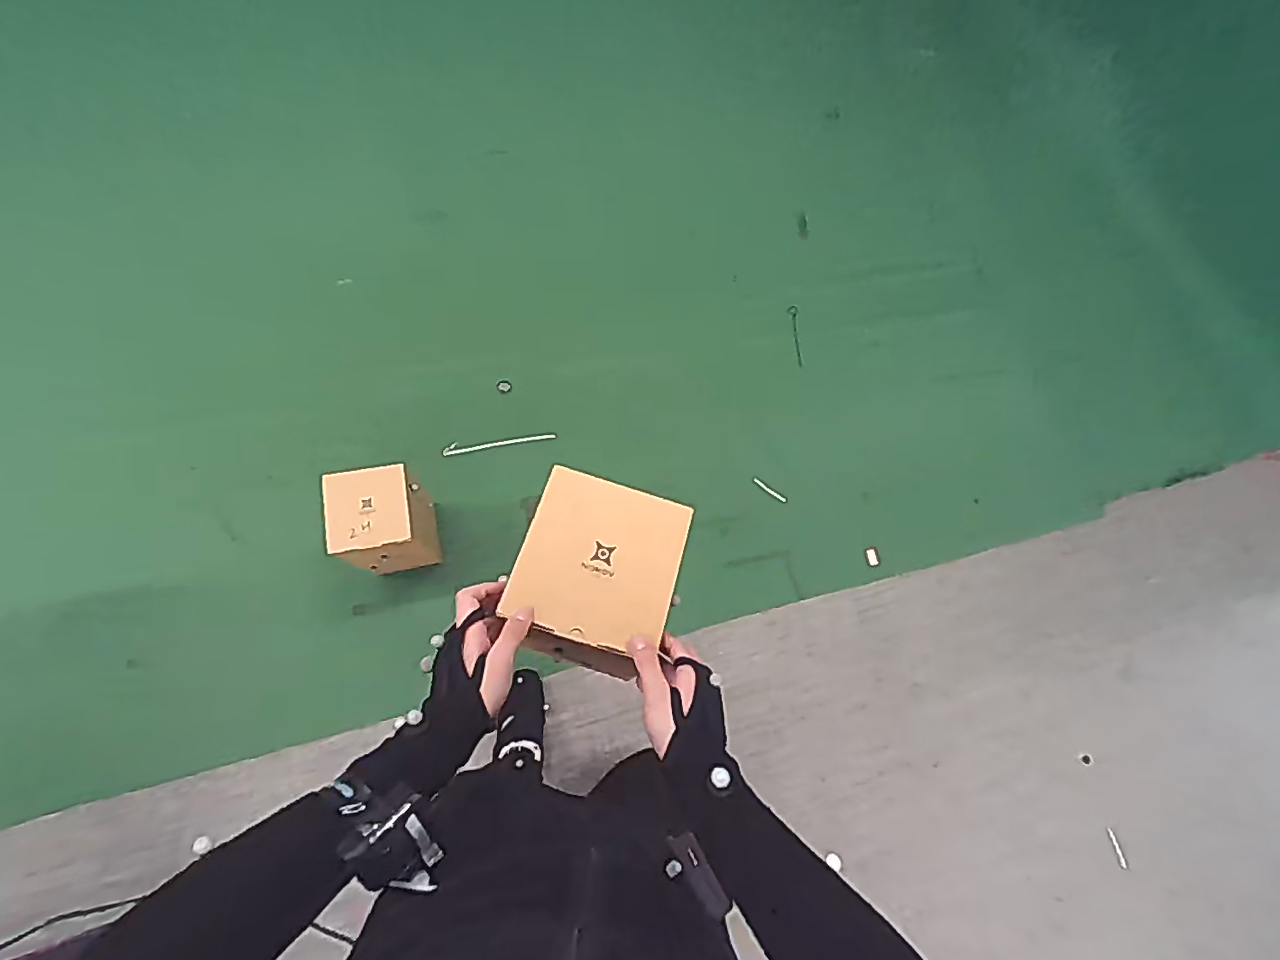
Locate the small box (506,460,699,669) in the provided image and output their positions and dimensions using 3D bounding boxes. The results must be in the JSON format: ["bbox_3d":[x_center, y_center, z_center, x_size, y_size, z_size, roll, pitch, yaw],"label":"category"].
[{"bbox_3d":[-0.046,0.108,0.634,0.168,0.176,0.179,18,65,-2],"label":"small box"}]

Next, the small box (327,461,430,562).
[{"bbox_3d":[-0.580,0.074,1.213,0.168,0.176,0.179,-9,75,-11],"label":"small box"}]
